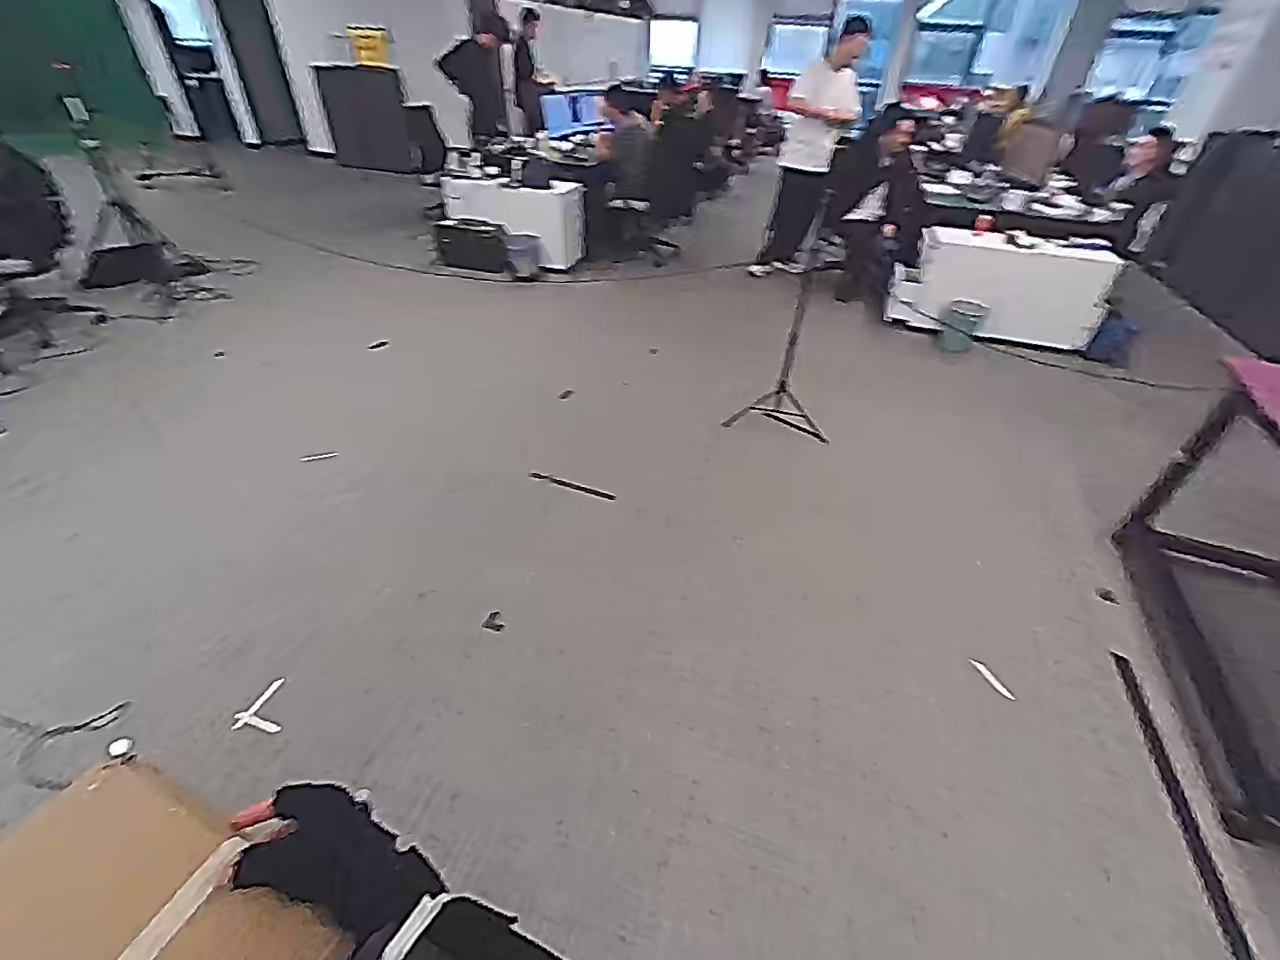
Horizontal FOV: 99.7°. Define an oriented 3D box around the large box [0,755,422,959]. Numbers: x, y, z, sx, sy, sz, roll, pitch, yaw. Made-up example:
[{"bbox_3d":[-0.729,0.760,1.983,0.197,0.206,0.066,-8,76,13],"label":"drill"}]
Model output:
[{"bbox_3d":[-0.412,0.518,0.399,0.320,0.320,0.408,23,44,14],"label":"large box"}]
